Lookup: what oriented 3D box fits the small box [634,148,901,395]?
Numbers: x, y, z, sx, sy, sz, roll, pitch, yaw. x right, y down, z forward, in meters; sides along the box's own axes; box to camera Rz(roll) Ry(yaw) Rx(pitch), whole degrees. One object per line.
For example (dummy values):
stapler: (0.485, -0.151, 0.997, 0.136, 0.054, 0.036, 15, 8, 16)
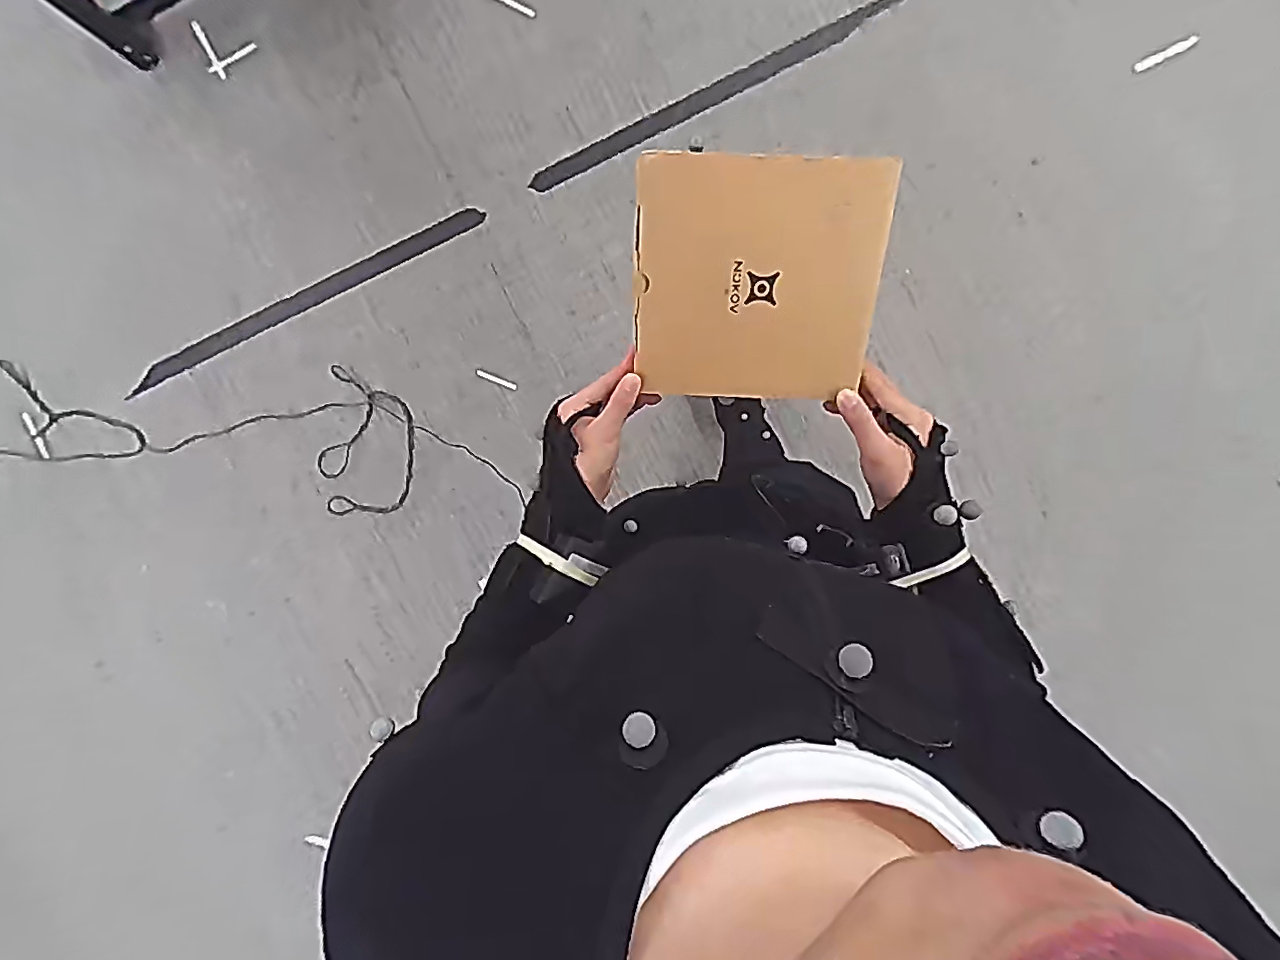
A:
small box: (0.087, -0.178, 0.463, 0.179, 0.176, 0.168, 2, 115, 2)
